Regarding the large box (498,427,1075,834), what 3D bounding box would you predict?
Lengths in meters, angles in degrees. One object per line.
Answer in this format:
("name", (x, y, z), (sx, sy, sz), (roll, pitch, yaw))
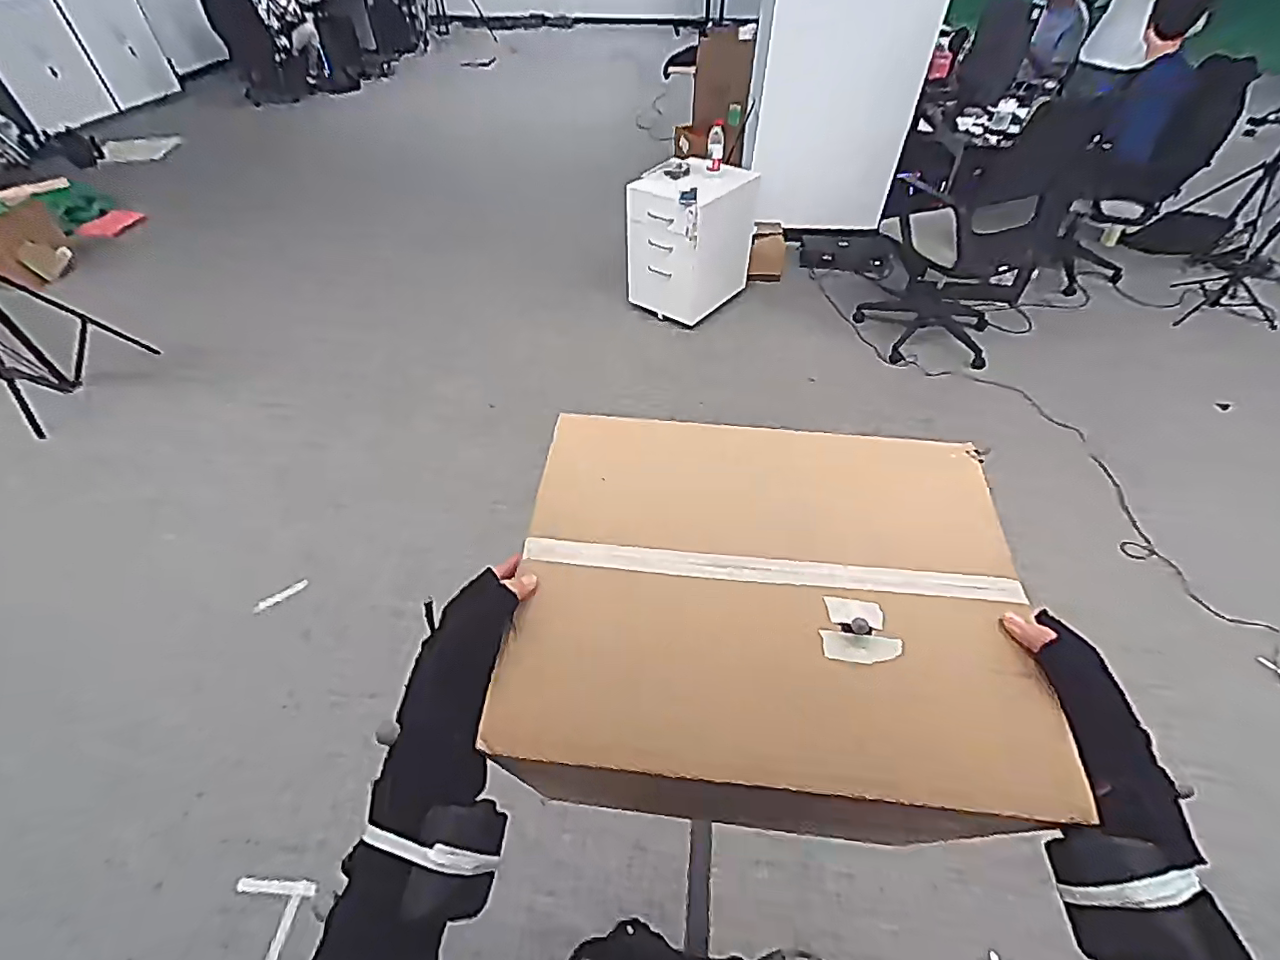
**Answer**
("large box", (0.107, 0.168, 0.575), (0.408, 0.320, 0.320), (5, 56, 3))
